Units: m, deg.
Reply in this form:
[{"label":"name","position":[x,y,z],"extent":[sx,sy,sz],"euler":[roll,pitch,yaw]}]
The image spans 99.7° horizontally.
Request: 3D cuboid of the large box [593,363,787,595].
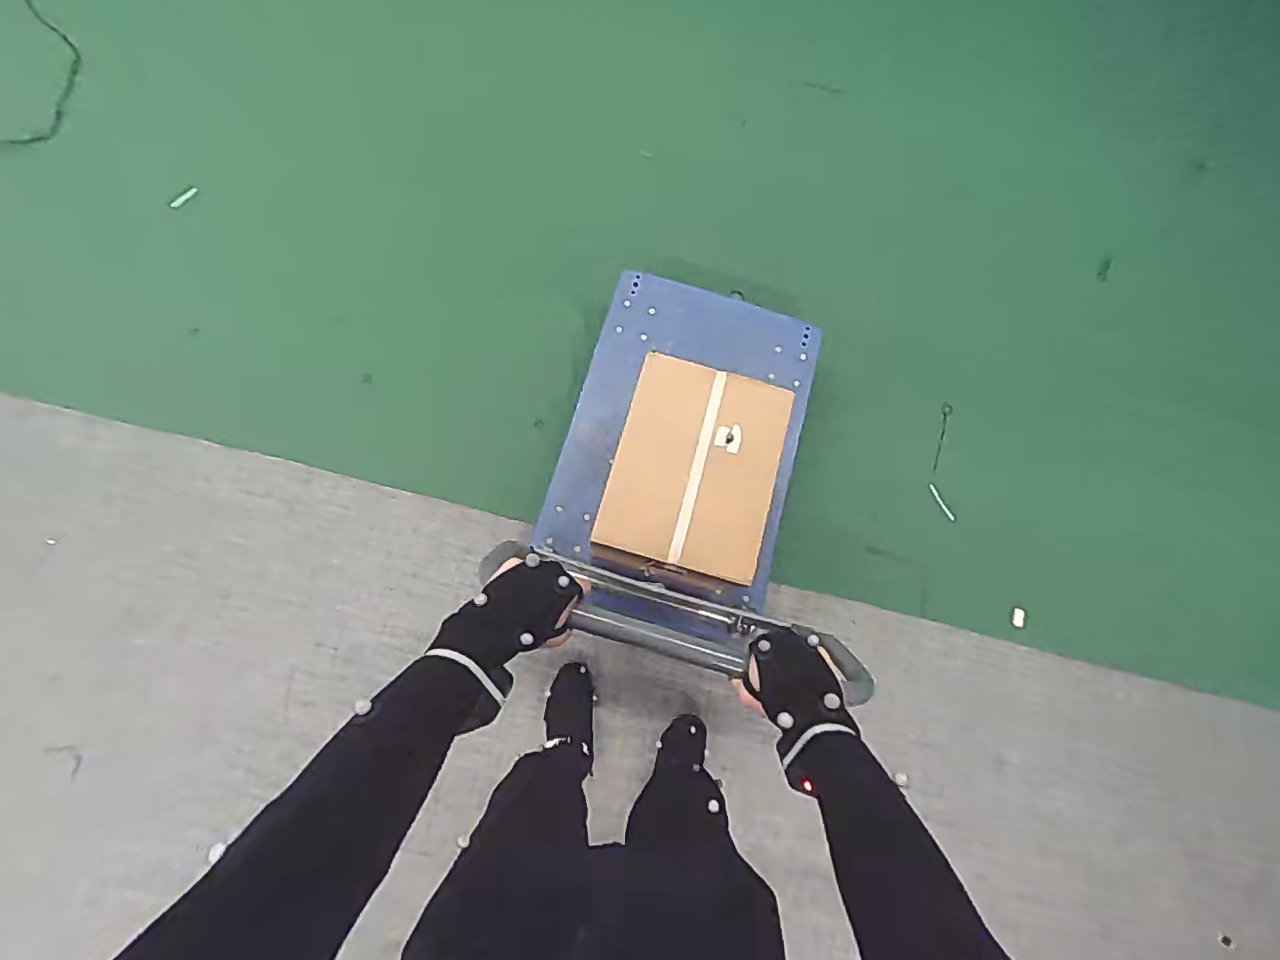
[{"label":"large box","position":[0.097,0.020,1.203],"extent":[0.320,0.320,0.408],"euler":[16,75,-1]}]
